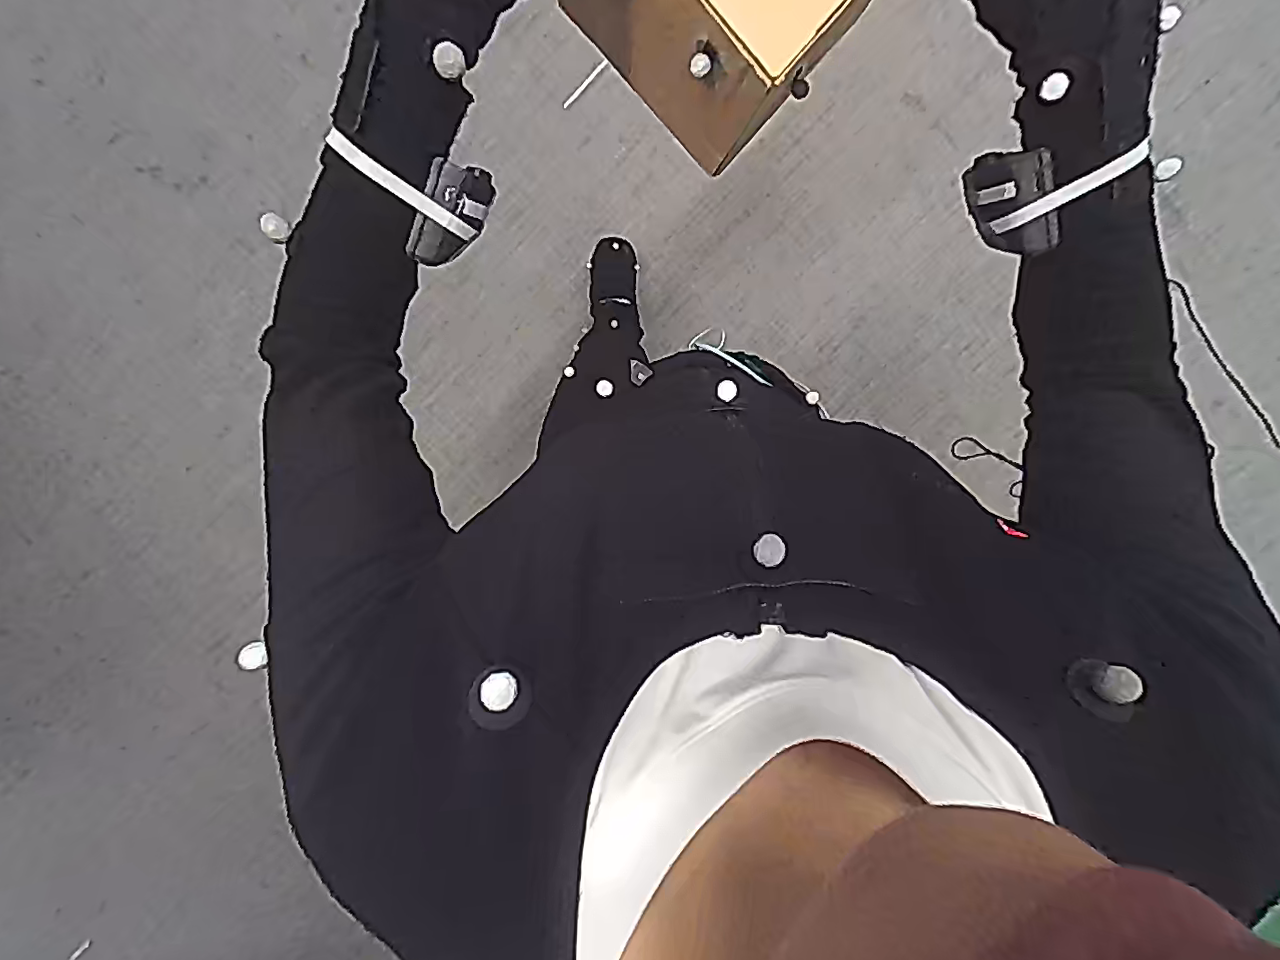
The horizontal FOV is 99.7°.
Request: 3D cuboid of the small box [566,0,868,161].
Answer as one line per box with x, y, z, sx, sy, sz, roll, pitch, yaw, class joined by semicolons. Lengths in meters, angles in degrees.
0.059;-0.353;0.350;0.179;0.176;0.168;43;96;-13;small box
